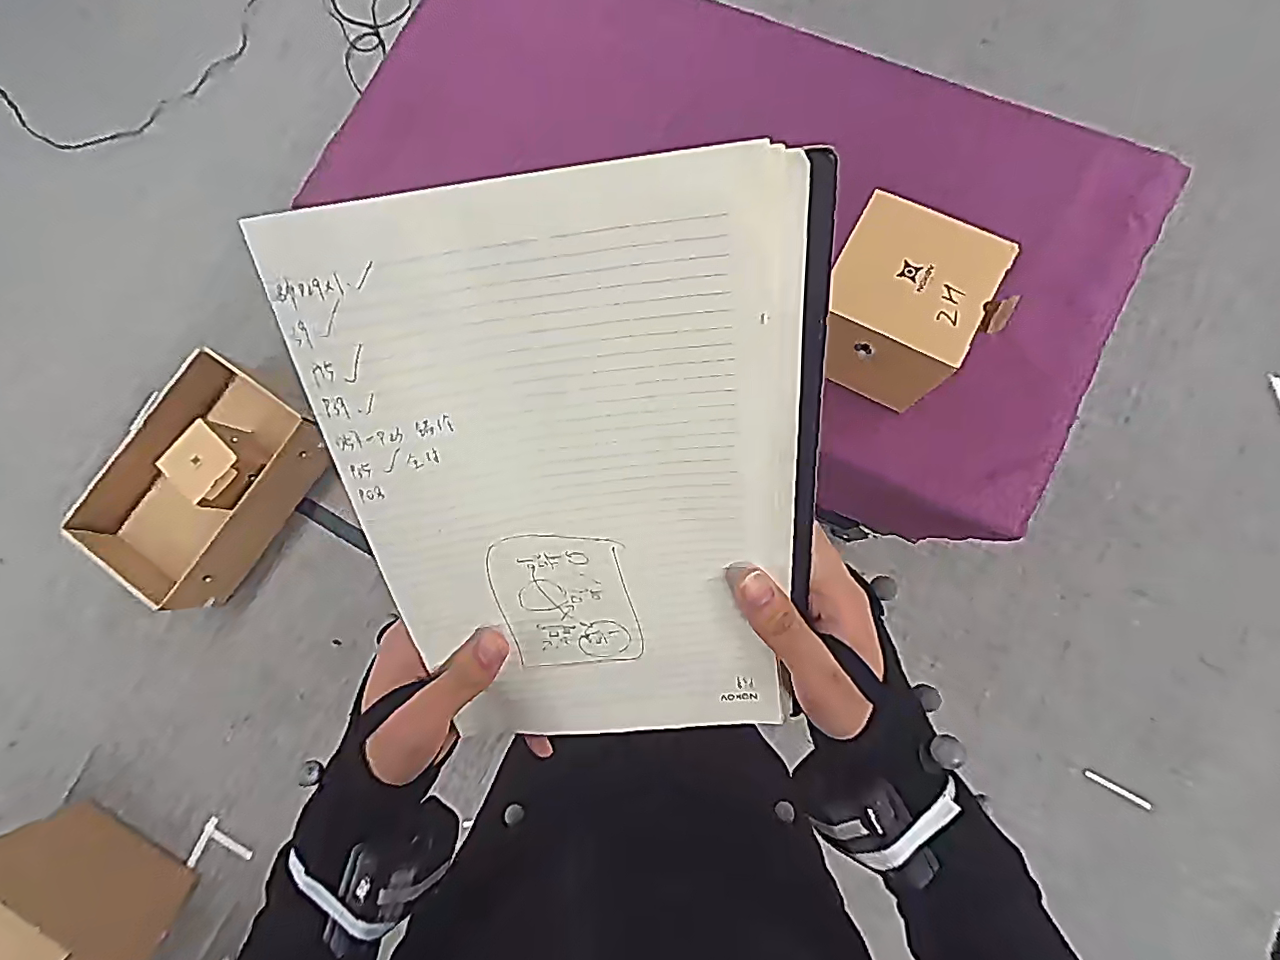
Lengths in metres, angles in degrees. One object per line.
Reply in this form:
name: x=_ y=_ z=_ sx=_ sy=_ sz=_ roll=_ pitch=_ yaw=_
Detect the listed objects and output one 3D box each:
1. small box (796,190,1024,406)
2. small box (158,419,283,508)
small box: x=0.319 y=-0.214 z=0.682 sx=0.179 sy=0.176 sz=0.168 roll=29 pitch=84 yaw=9
small box: x=-1.138 y=-0.038 z=1.483 sx=0.179 sy=0.176 sz=0.168 roll=41 pitch=87 yaw=10
